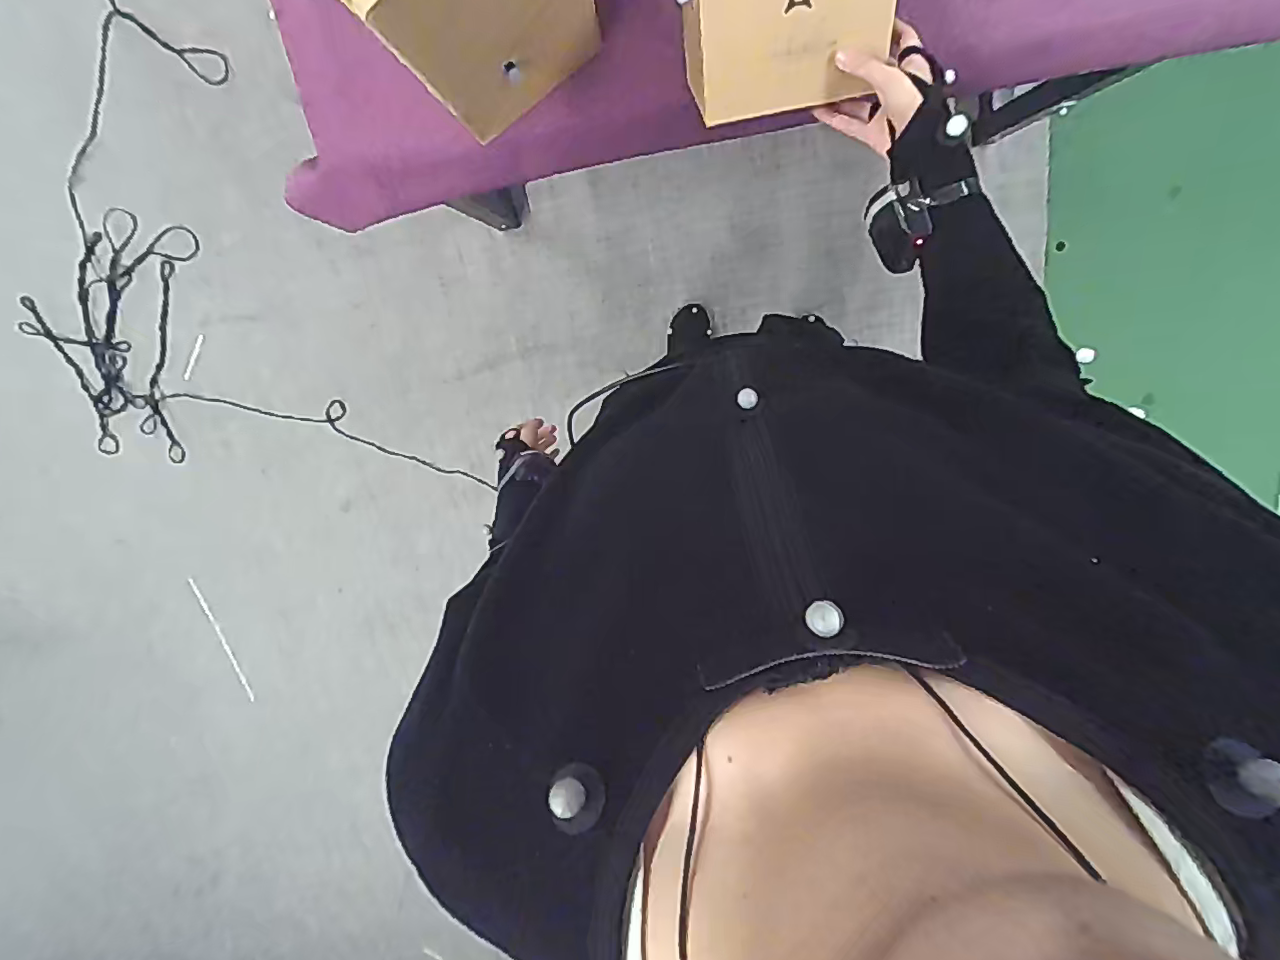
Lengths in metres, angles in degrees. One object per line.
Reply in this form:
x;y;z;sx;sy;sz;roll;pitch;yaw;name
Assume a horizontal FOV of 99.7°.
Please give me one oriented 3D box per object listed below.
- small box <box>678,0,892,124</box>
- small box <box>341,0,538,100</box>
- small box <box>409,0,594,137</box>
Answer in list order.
0.122;-0.461;0.496;0.168;0.176;0.179;-8;138;4;small box
-0.166;-0.420;0.375;0.168;0.176;0.179;43;102;-10;small box
-0.163;-0.482;0.529;0.179;0.176;0.168;-33;103;11;small box
